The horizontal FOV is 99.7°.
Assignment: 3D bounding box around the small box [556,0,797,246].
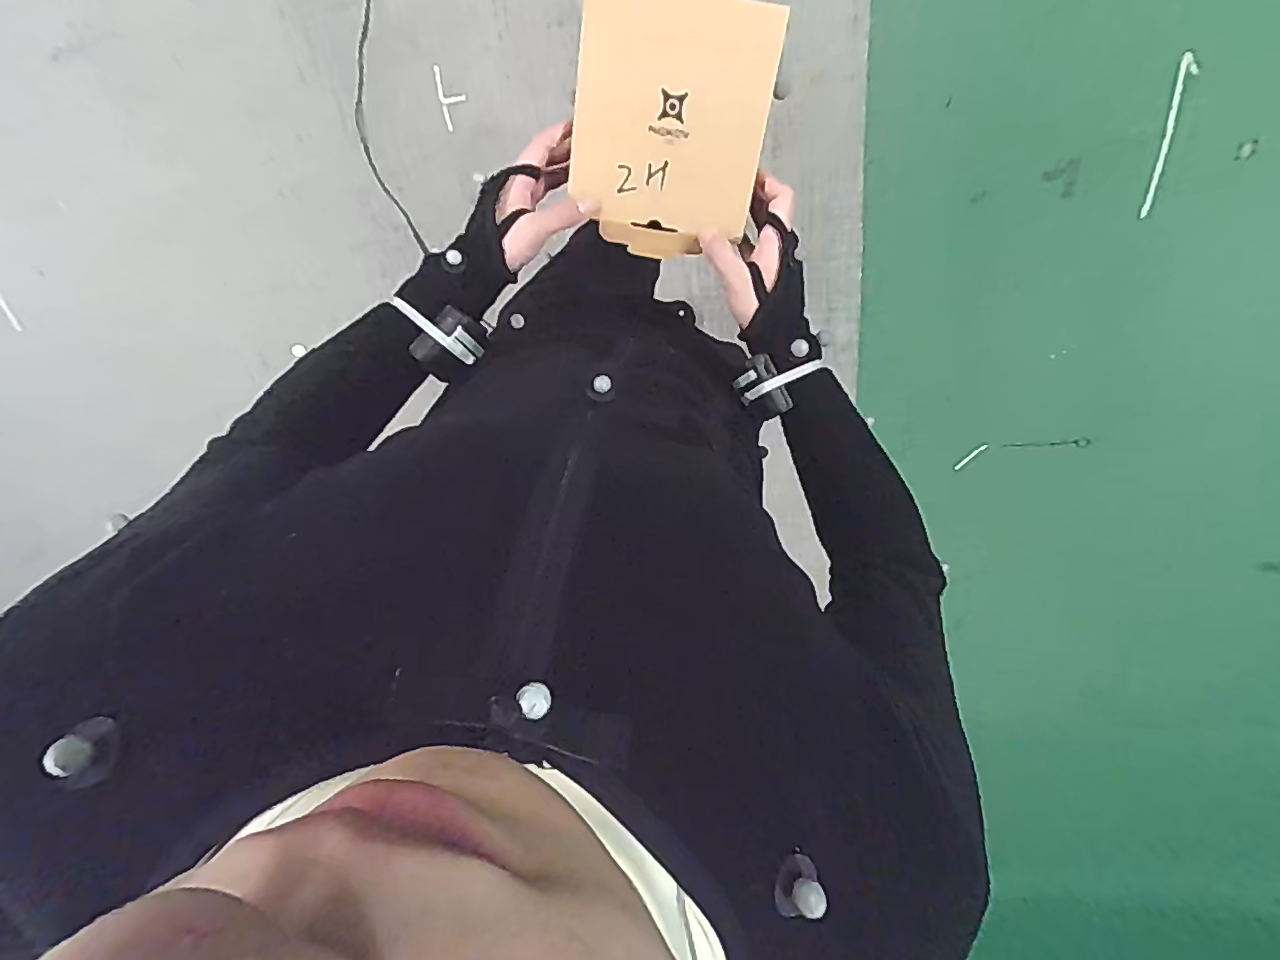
[{"bbox_3d":[0.031,-0.344,0.527,0.168,0.176,0.179,17,115,-1],"label":"small box"}]
